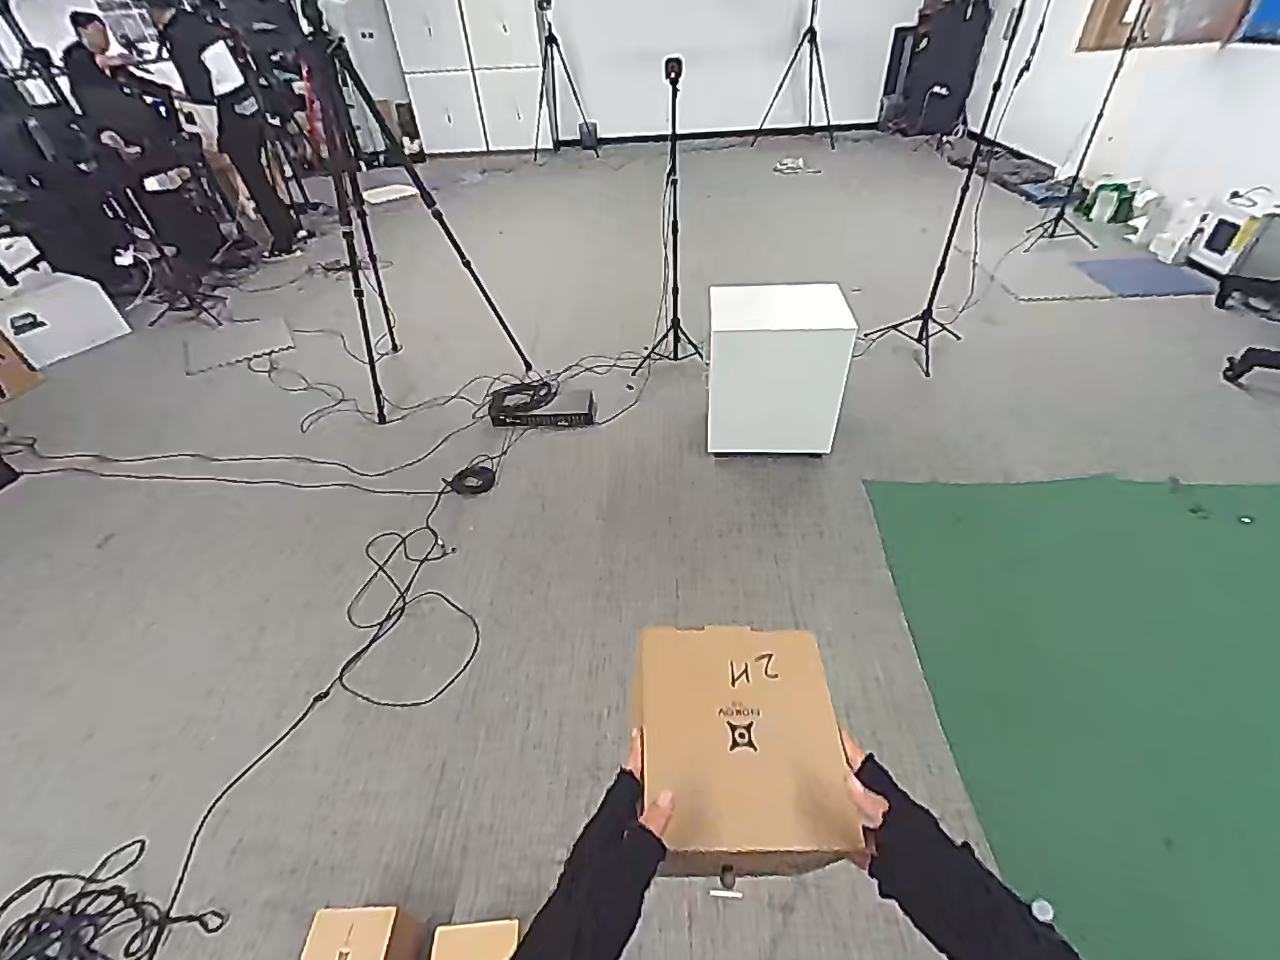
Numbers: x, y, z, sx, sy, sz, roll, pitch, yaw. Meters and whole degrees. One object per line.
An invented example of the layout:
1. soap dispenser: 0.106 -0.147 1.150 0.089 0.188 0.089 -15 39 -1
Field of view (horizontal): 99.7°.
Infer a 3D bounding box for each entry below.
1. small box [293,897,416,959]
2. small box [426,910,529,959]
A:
1. small box: -0.569 0.957 1.076 0.168 0.176 0.179 -2 41 1
2. small box: -0.315 0.967 1.051 0.168 0.176 0.179 -5 43 -1
